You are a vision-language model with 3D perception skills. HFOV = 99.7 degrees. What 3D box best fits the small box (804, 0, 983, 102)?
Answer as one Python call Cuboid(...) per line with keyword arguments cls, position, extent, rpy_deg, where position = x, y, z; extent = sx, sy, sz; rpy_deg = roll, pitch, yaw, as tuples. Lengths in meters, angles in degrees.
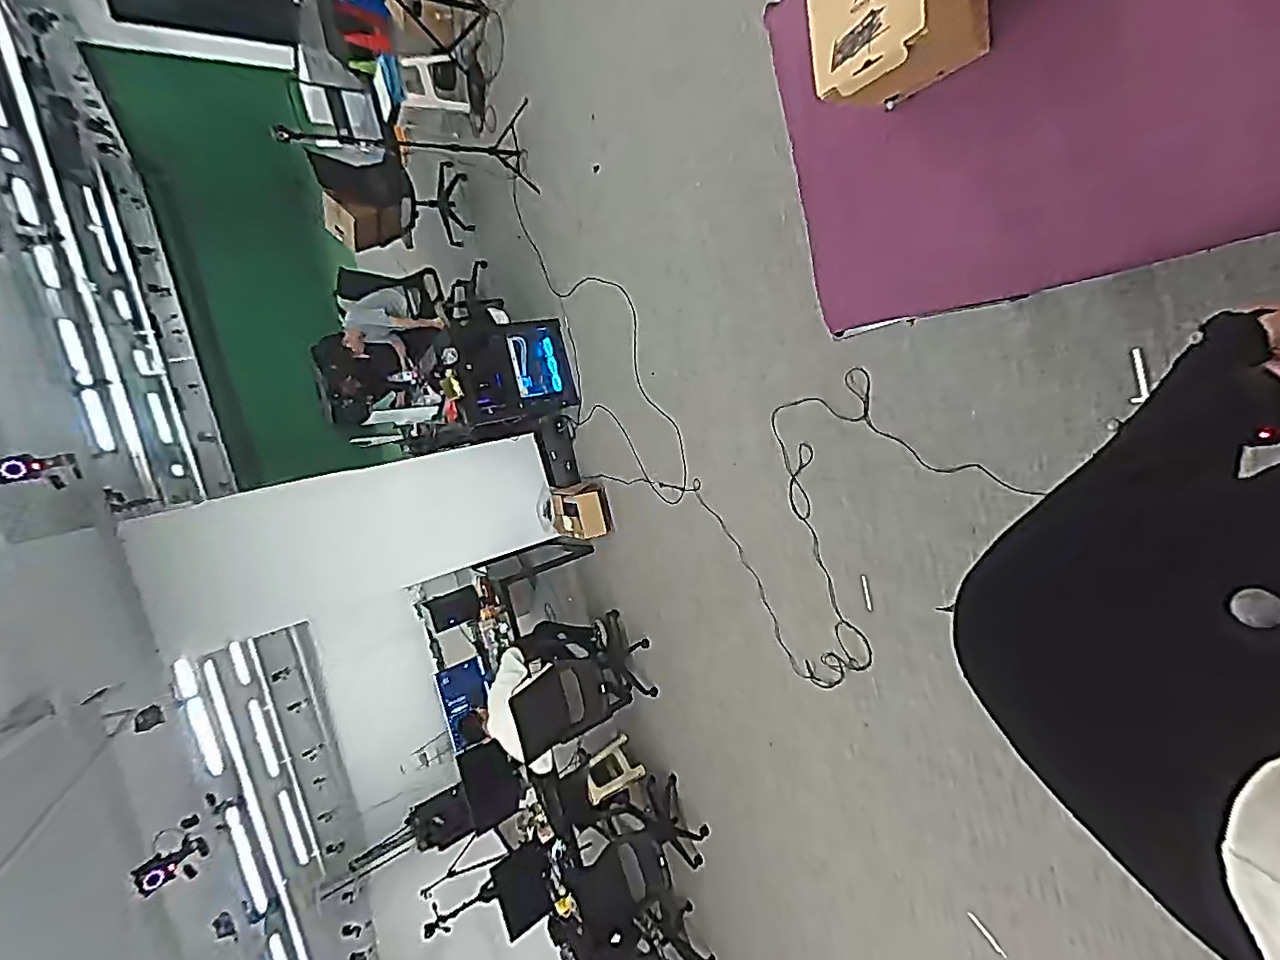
Cuboid(cls="small box", position=(0.355, -0.662, 0.757), extent=(0.168, 0.176, 0.179), rpy_deg=(5, 109, 56))
